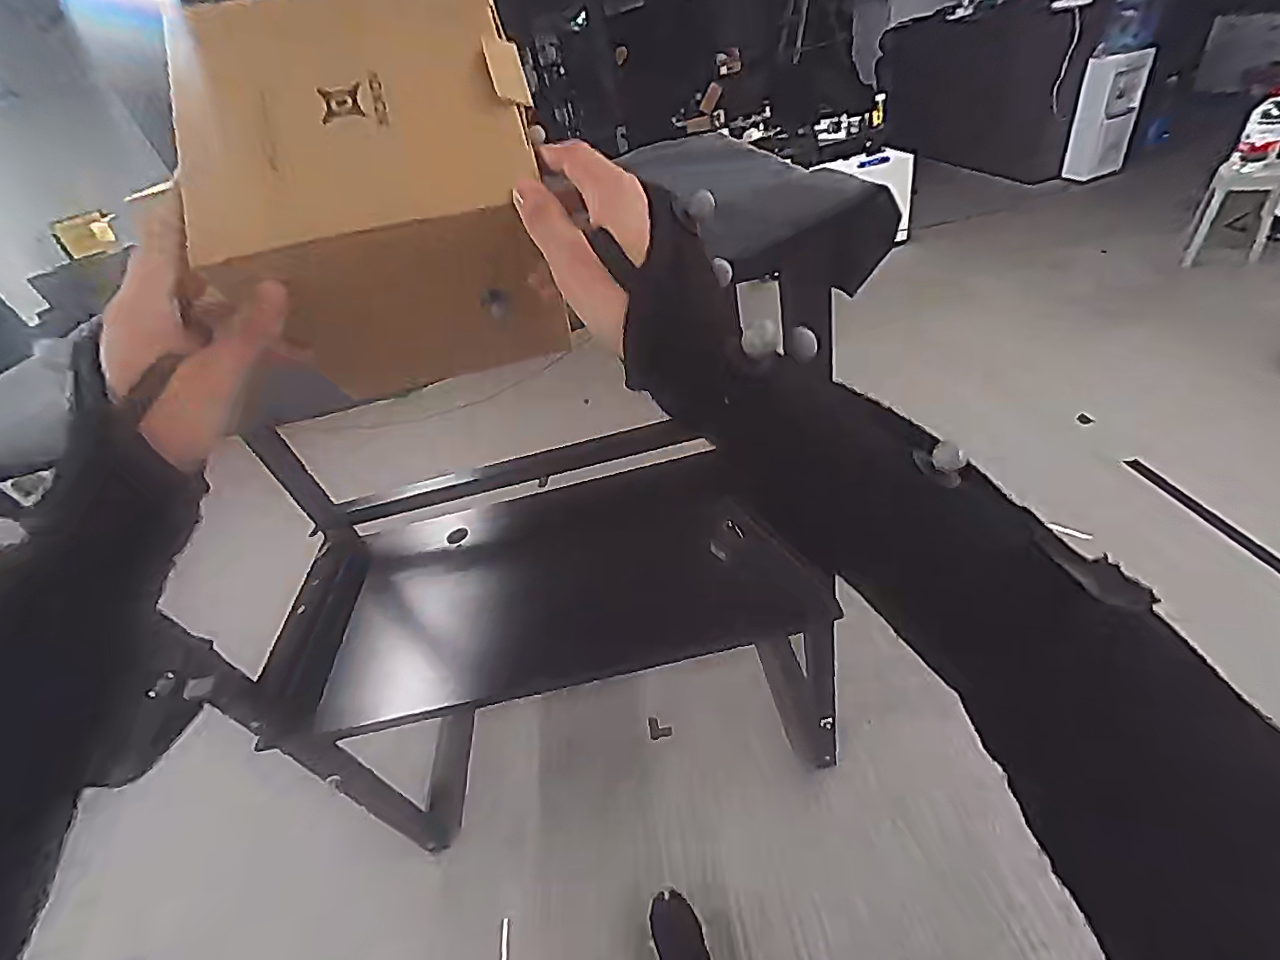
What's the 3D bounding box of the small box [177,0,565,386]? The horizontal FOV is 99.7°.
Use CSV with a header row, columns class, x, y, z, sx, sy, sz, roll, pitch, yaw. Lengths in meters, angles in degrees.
class,x,y,z,sx,sy,sz,roll,pitch,yaw
small box,-0.152,-0.183,0.363,0.179,0.176,0.168,-14,76,-6
